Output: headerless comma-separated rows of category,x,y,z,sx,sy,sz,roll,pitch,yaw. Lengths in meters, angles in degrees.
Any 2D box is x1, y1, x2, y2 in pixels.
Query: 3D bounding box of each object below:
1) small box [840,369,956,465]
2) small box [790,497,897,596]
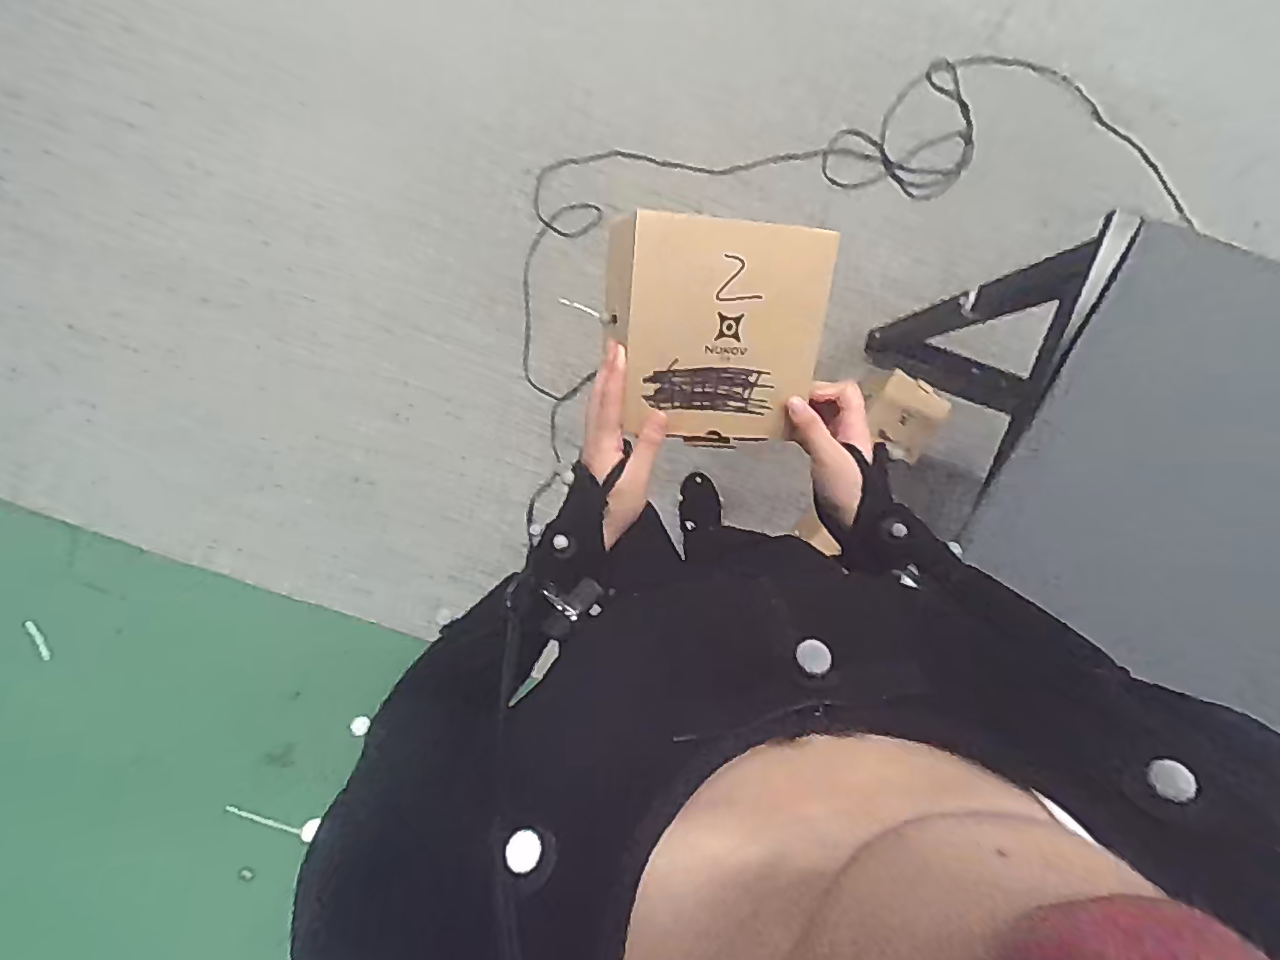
small box,0.641,-0.157,1.369,0.168,0.176,0.179,32,93,-3
small box,0.510,0.164,1.394,0.168,0.176,0.179,40,92,-4
